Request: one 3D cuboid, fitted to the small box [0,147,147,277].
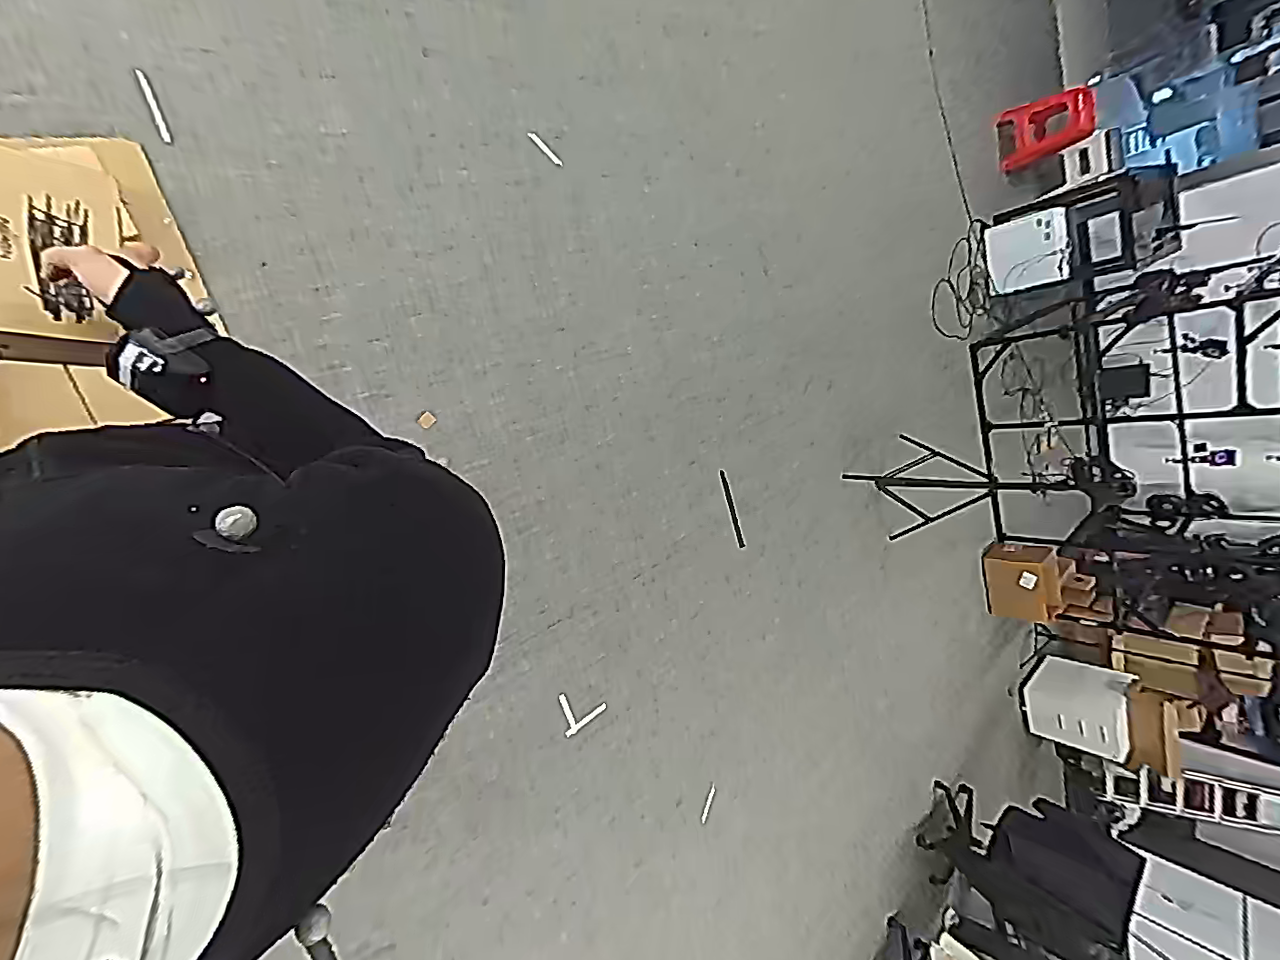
[{"bbox_3d":[-1.155,-0.538,1.097,0.168,0.176,0.179,-30,107,-31],"label":"small box"}]
